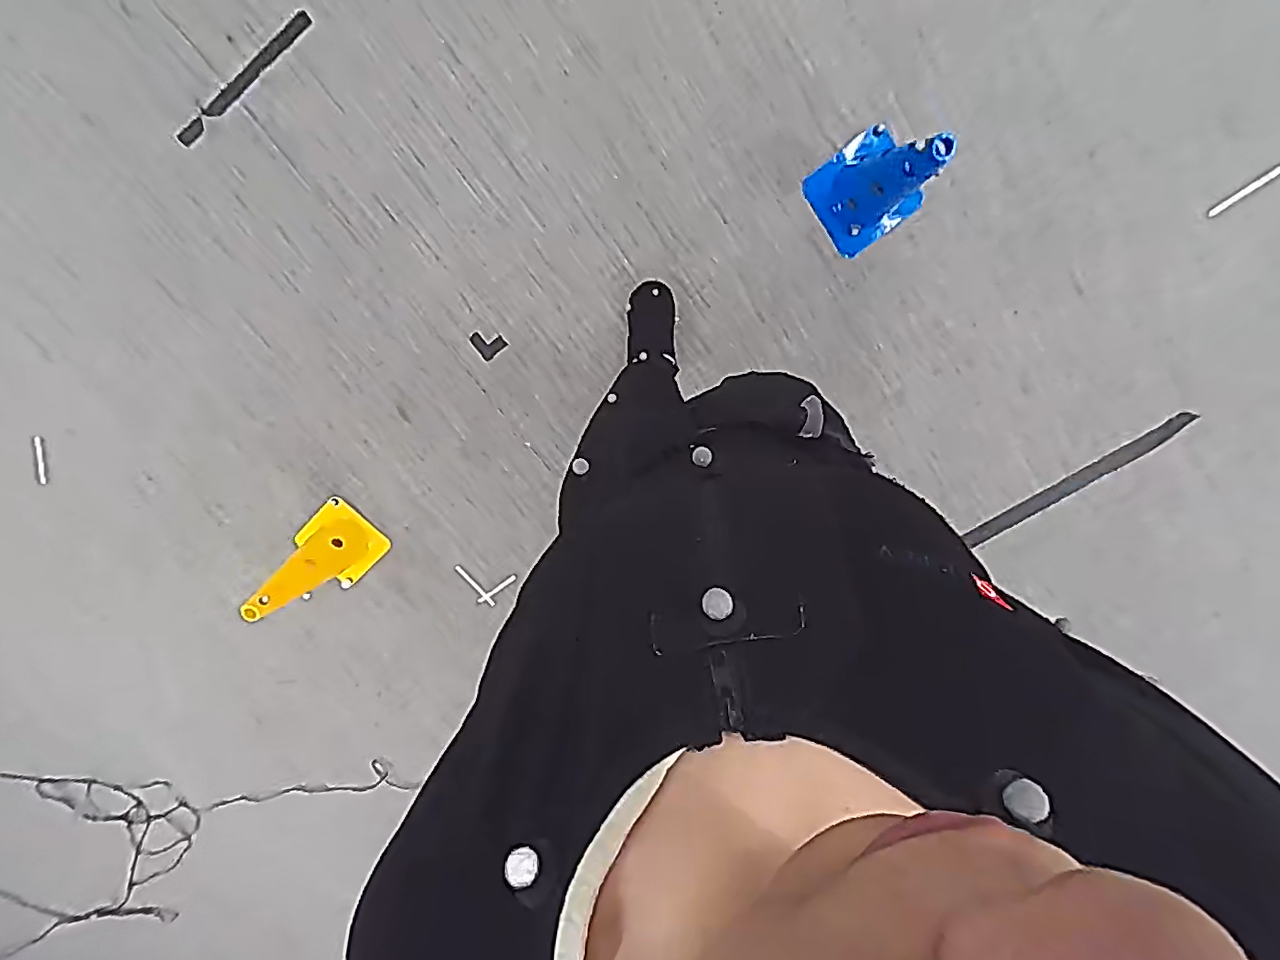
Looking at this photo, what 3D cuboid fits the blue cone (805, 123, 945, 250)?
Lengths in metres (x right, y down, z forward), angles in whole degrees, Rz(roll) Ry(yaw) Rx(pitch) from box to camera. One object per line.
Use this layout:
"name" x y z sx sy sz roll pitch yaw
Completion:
"blue cone" 0.465 -0.571 1.004 0.193 0.380 0.192 -34 102 12

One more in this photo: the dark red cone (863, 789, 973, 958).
"dark red cone" 0.801 1.087 1.492 0.202 0.394 0.201 -42 100 14
